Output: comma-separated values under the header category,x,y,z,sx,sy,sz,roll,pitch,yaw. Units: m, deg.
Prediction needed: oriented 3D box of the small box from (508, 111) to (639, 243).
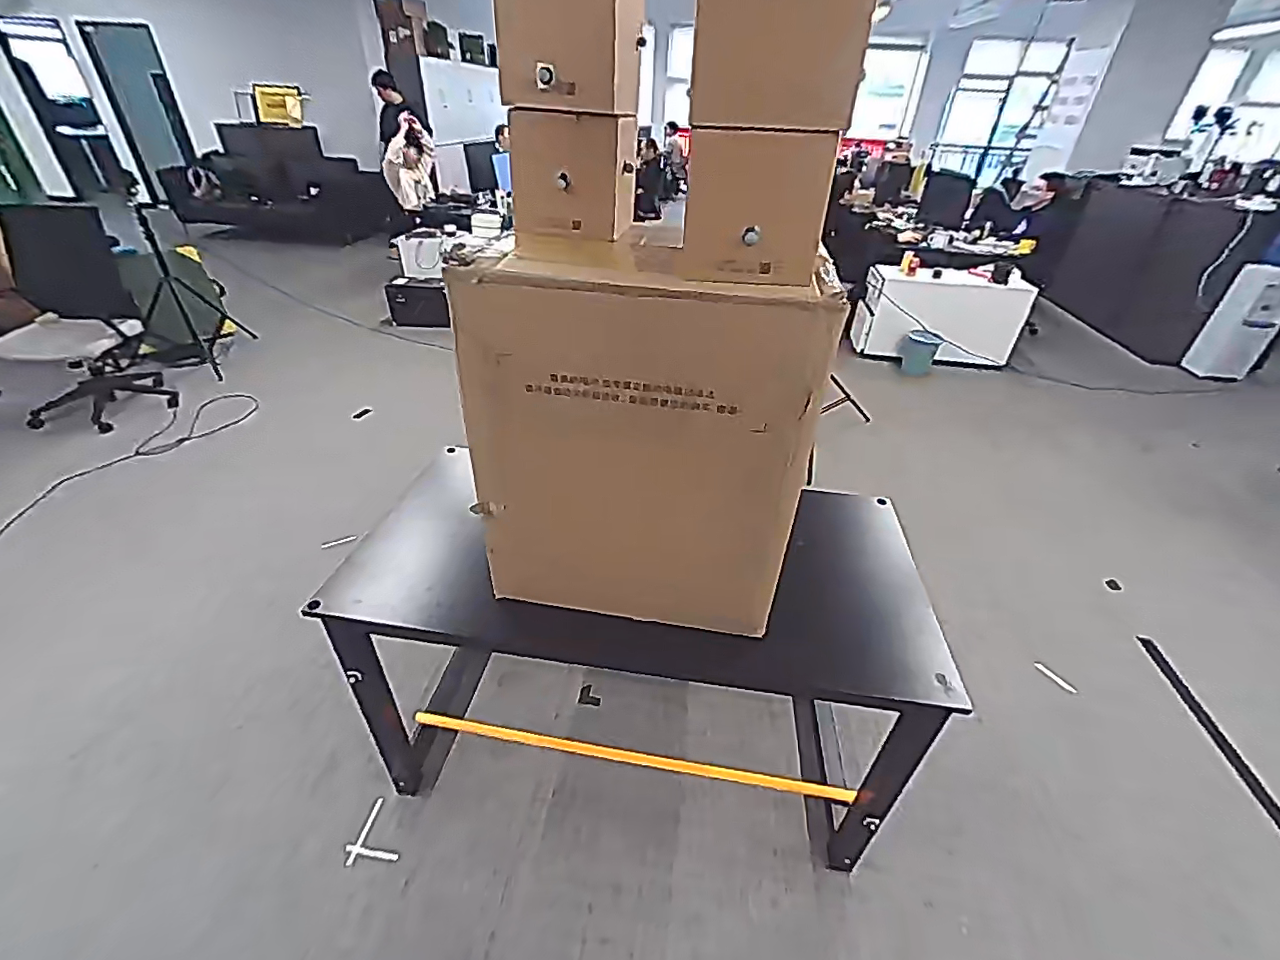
category,x,y,z,sx,sy,sz,roll,pitch,yaw
small box,-0.099,-0.491,0.872,0.168,0.176,0.179,8,35,5

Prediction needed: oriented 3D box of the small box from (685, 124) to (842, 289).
category,x,y,z,sx,sy,sz,roll,pitch,yaw
small box,0.147,-0.362,0.706,0.168,0.176,0.179,4,36,5

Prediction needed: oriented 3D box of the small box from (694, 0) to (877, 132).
category,x,y,z,sx,sy,sz,roll,pitch,yaw
small box,0.155,-0.489,0.601,0.179,0.176,0.168,7,36,6

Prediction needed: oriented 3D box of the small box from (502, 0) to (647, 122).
category,x,y,z,sx,sy,sz,roll,pitch,yaw
small box,-0.089,-0.616,0.766,0.168,0.176,0.179,8,35,7
